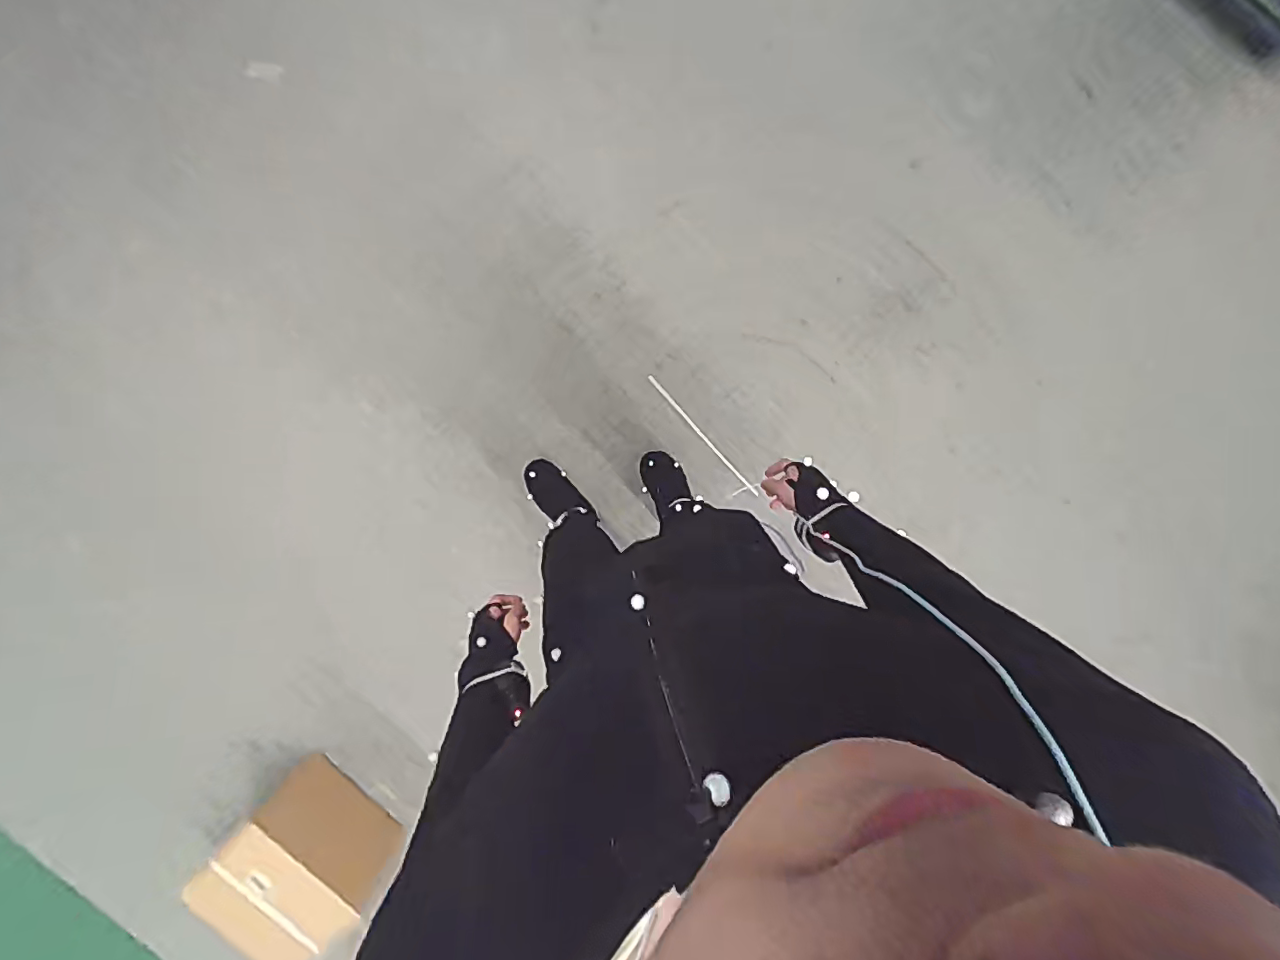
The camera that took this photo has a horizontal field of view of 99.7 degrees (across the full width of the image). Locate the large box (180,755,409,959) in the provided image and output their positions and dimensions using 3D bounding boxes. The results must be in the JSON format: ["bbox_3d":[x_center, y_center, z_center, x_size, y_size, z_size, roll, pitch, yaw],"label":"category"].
[{"bbox_3d":[-0.987,1.128,1.598,0.320,0.320,0.408,-44,95,4],"label":"large box"}]
